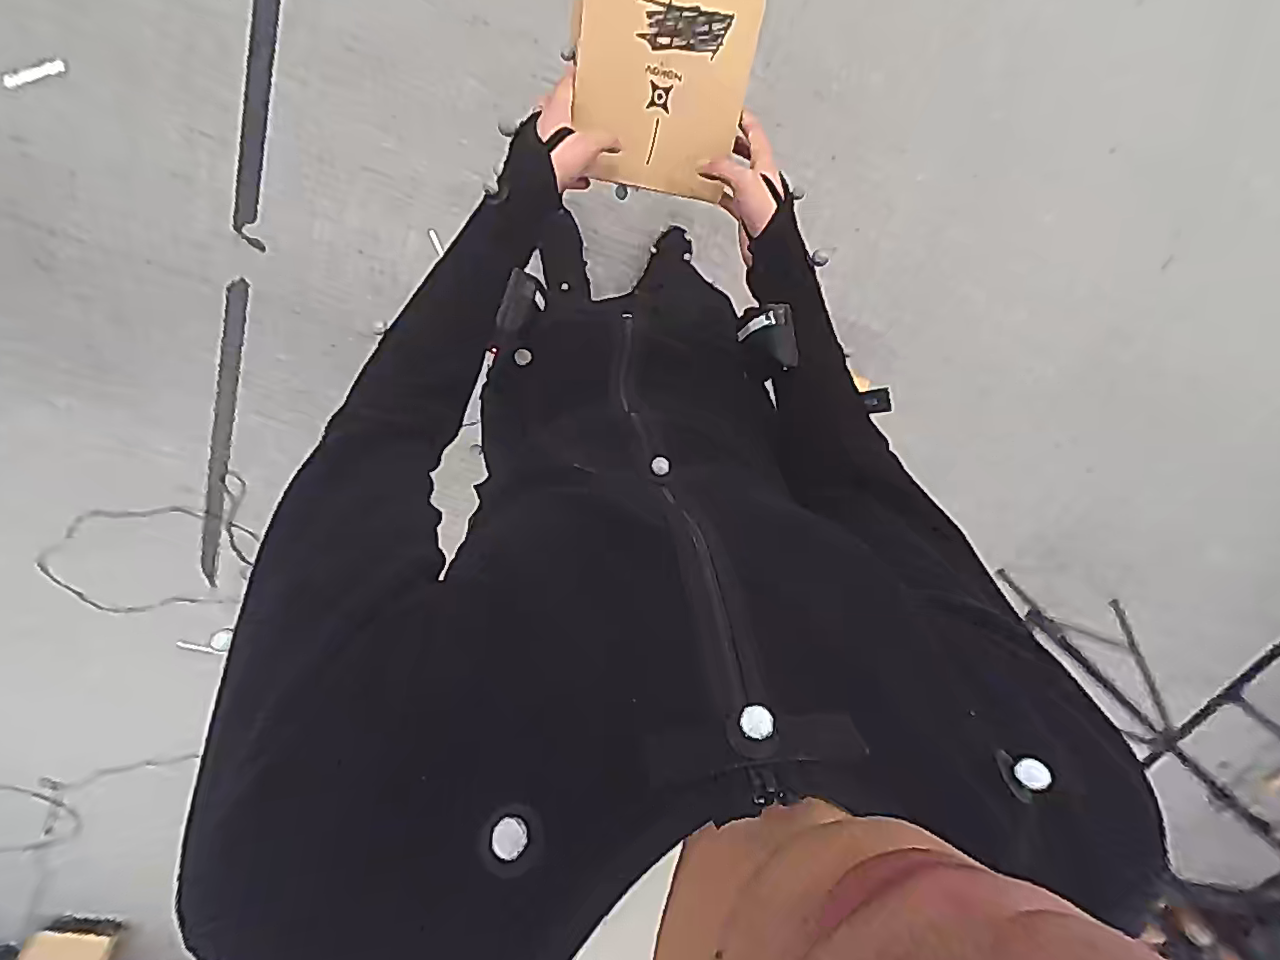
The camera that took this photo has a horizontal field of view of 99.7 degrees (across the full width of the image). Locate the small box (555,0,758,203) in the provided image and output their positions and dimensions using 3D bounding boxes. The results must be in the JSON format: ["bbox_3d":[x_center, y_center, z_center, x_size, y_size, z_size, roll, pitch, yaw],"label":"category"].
[{"bbox_3d":[0.001,-0.413,0.579,0.168,0.176,0.179,4,120,-14],"label":"small box"}]

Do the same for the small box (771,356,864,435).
[{"bbox_3d":[0.515,-0.254,1.592,0.179,0.176,0.168,12,115,-13],"label":"small box"}]
